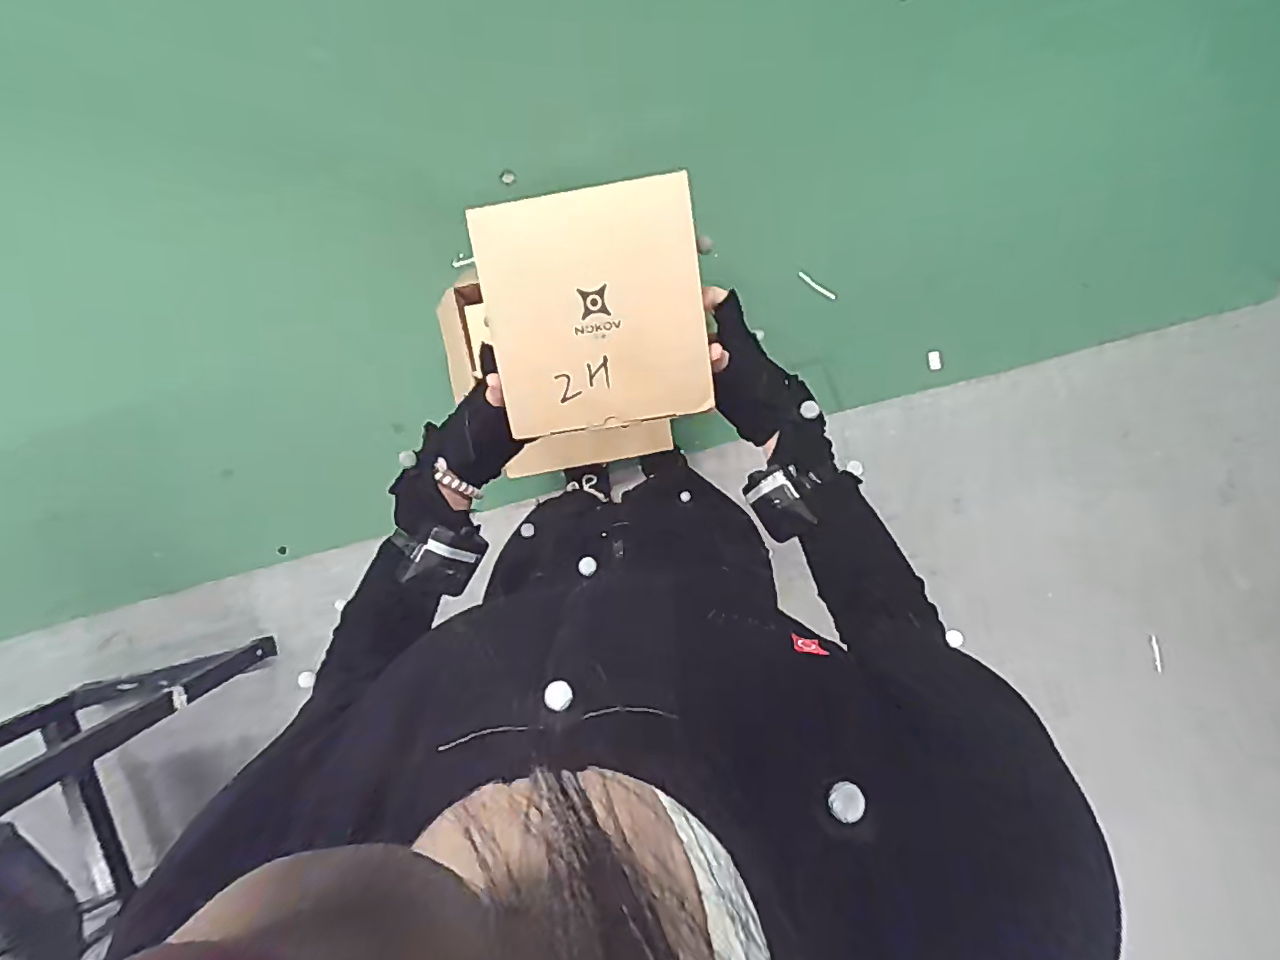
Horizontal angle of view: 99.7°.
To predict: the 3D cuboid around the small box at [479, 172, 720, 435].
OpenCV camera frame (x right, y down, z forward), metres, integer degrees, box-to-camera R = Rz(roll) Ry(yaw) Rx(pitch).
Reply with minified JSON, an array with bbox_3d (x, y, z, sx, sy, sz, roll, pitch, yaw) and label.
[{"bbox_3d":[-0.027,-0.148,0.487,0.168,0.176,0.179,-7,105,3],"label":"small box"}]
